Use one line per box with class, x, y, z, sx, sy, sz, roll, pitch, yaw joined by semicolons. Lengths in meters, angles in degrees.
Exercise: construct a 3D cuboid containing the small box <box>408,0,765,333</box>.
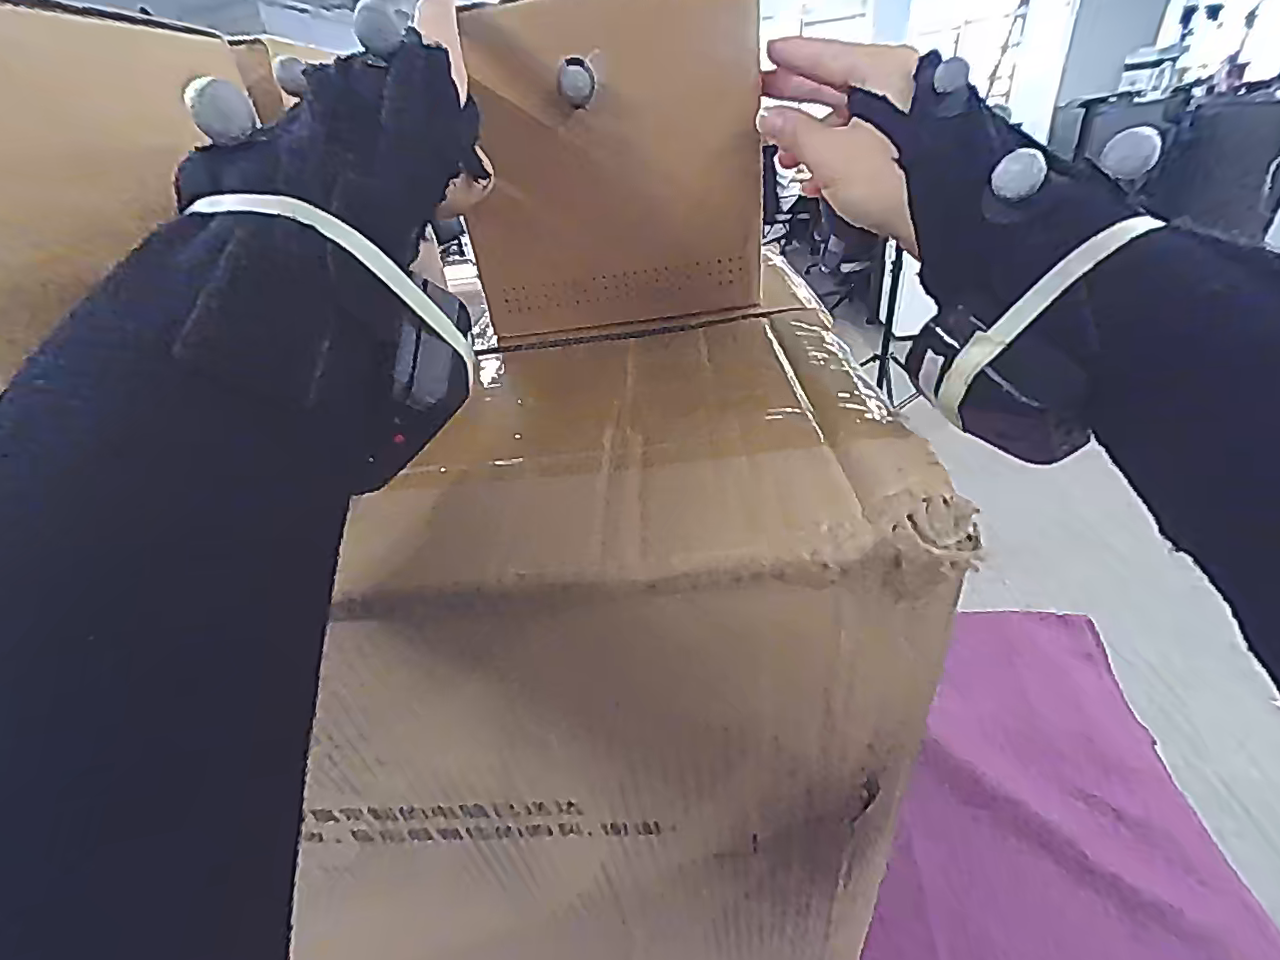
small box;-0.016;-0.213;0.366;0.179;0.176;0.168;-6;33;6
